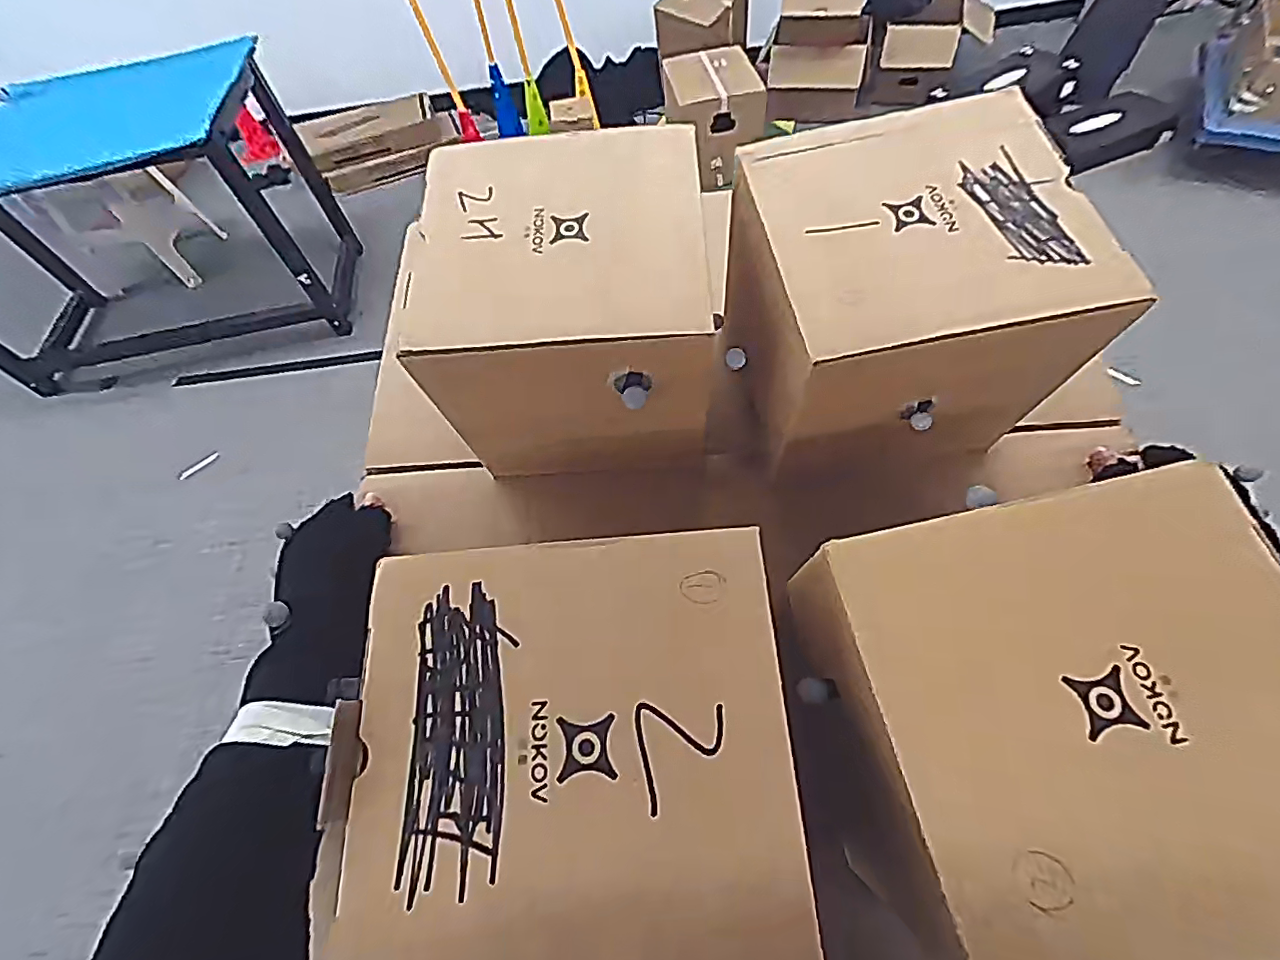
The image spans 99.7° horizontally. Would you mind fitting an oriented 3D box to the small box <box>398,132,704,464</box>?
[{"bbox_3d":[-0.047,-0.120,0.406,0.179,0.176,0.168,-3,66,4],"label":"small box"}]
